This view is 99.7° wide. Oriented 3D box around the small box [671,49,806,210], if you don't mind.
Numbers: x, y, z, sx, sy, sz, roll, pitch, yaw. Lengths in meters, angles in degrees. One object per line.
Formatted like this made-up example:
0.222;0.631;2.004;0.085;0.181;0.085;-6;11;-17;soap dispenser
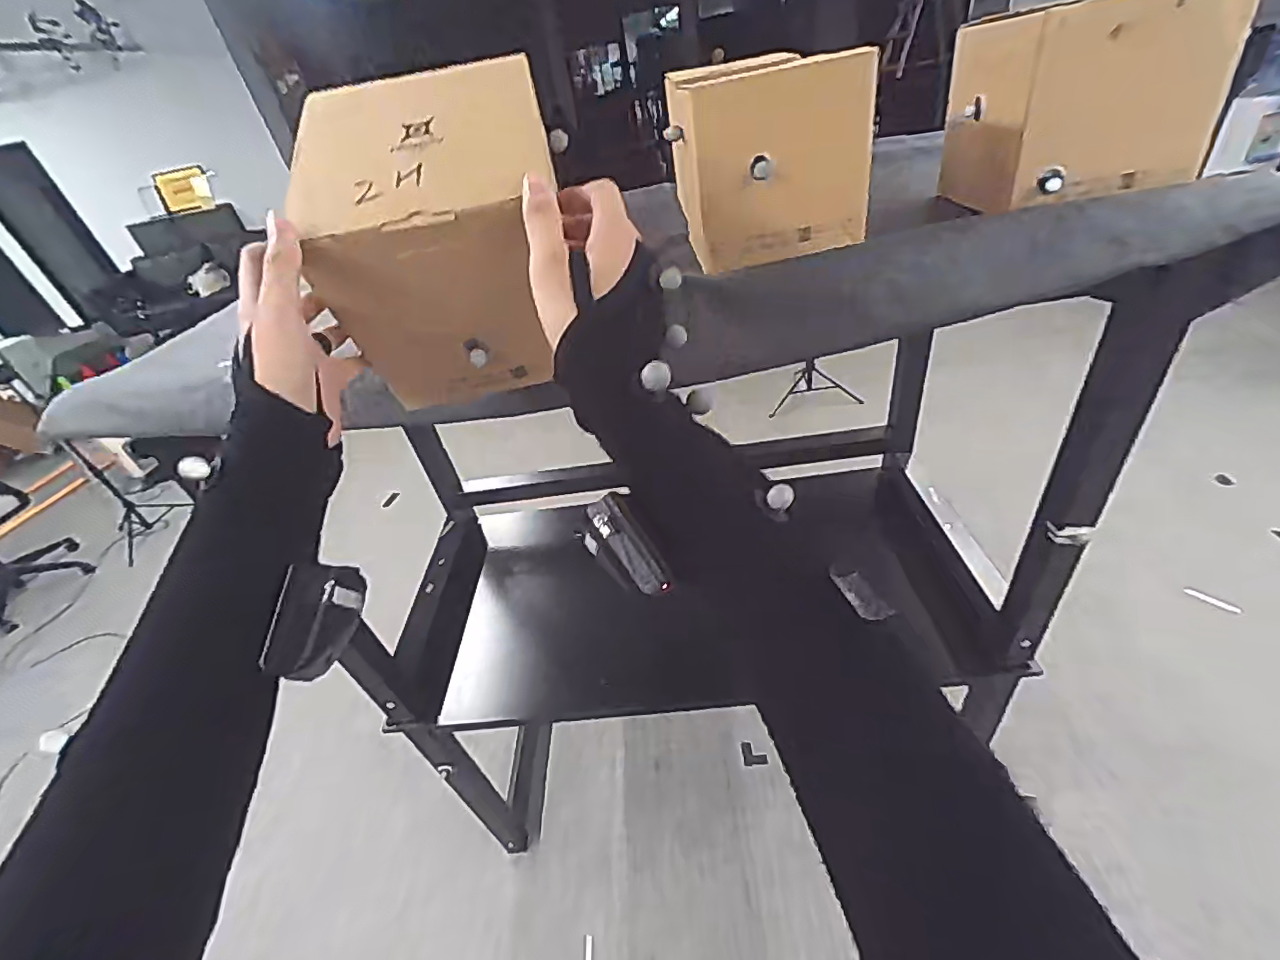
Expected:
0.138;-0.507;0.790;0.168;0.176;0.179;-8;37;5;small box

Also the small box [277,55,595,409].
-0.136;-0.183;0.420;0.168;0.176;0.179;-12;61;-2;small box

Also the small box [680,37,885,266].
0.139;-0.337;0.571;0.168;0.176;0.179;-9;35;4;small box

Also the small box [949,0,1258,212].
0.436;-0.378;0.538;0.168;0.176;0.179;-6;34;8;small box
